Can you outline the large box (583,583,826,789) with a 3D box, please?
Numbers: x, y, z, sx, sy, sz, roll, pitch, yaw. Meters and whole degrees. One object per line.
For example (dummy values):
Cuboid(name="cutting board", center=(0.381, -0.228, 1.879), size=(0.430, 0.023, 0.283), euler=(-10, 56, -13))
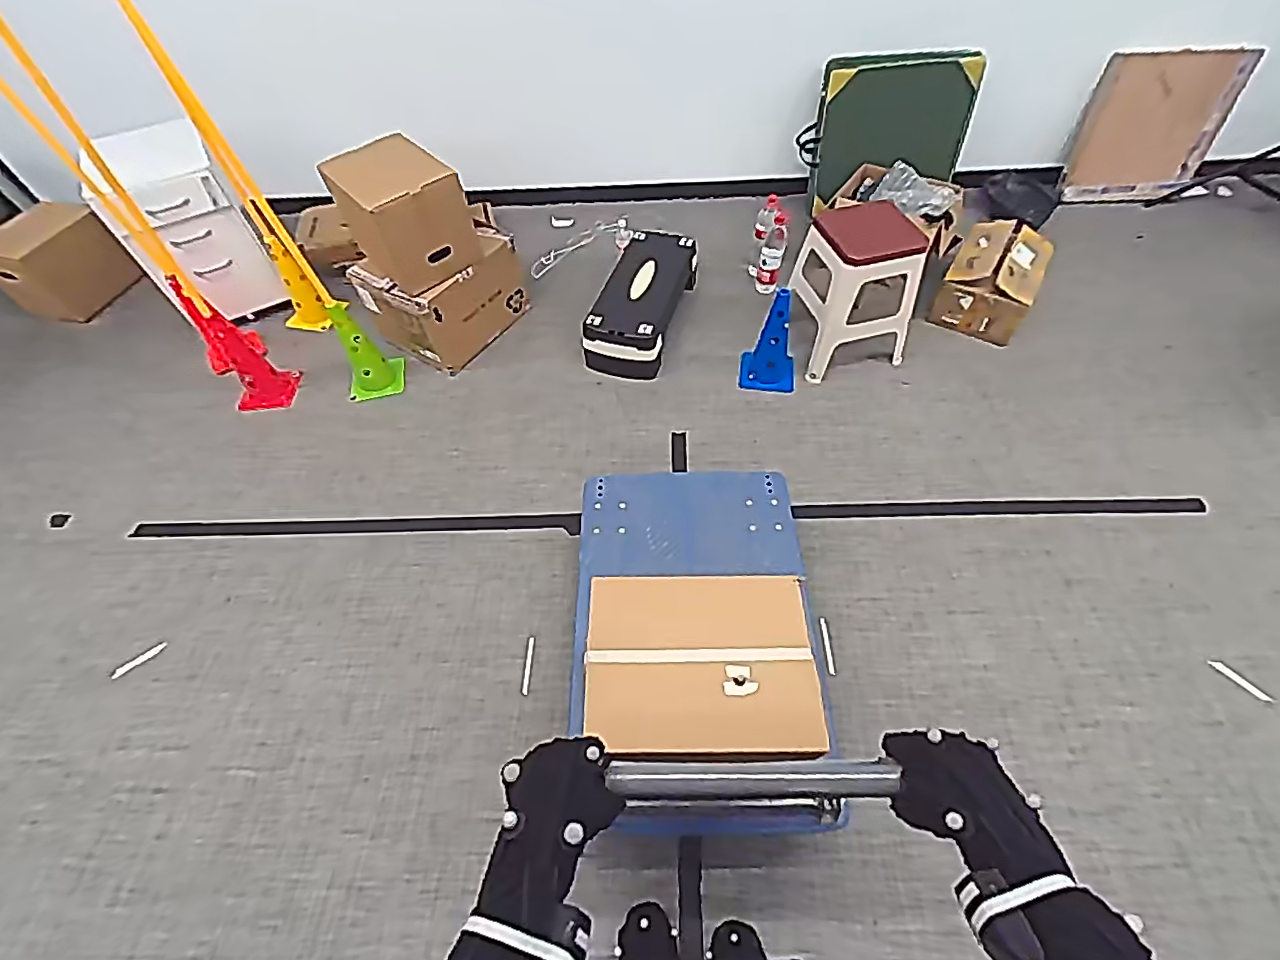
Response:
Cuboid(name="large box", center=(0.103, 0.417, 1.078), size=(0.408, 0.320, 0.320), euler=(-1, 55, 0))
